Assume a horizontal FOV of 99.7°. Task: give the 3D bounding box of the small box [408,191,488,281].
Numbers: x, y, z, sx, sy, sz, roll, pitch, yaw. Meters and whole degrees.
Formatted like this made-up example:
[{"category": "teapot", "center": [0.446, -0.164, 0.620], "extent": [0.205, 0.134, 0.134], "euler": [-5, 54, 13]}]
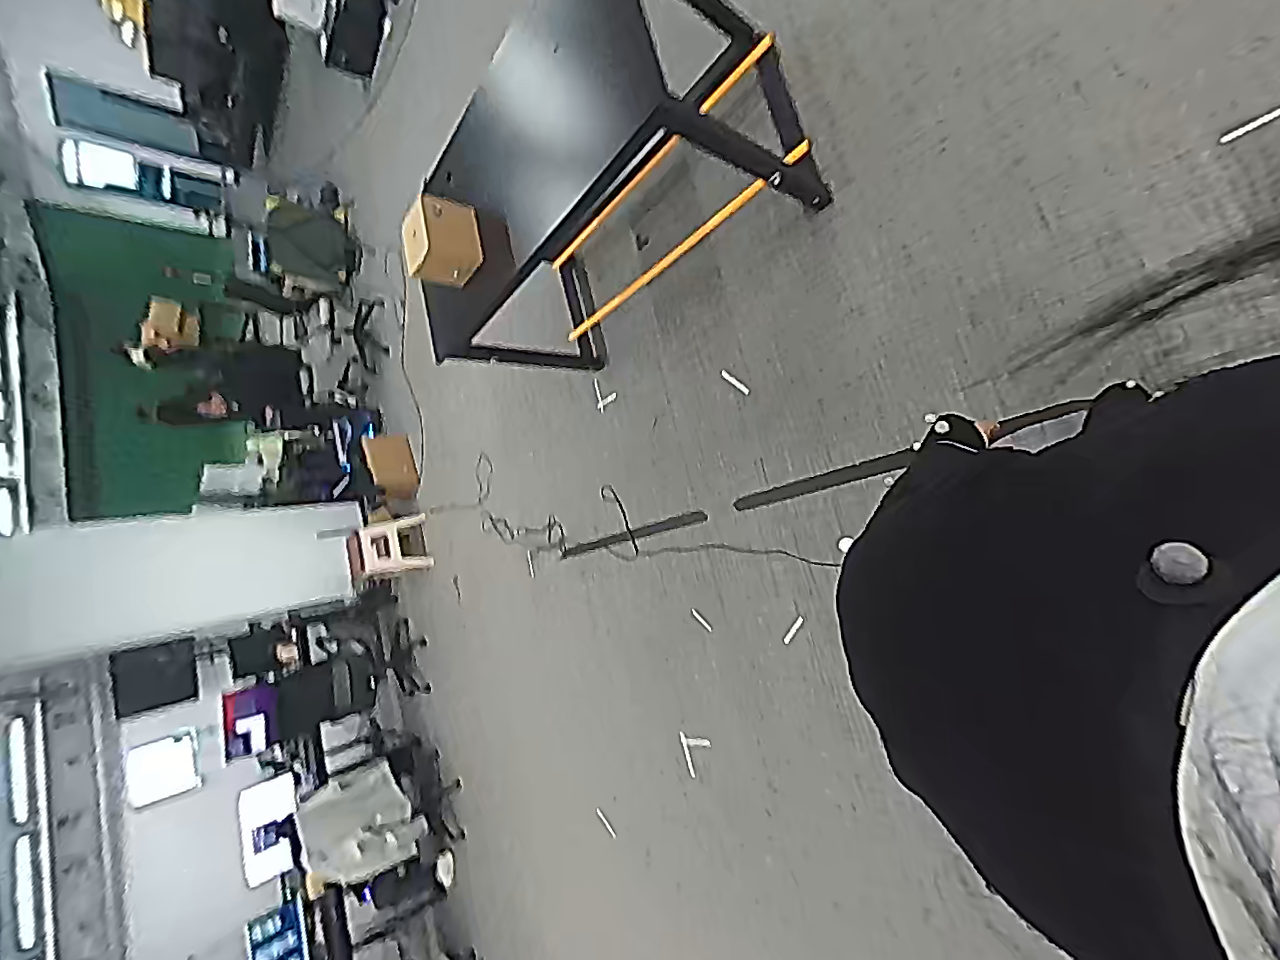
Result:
[{"category": "small box", "center": [-0.587, -0.737, 1.653], "extent": [0.168, 0.176, 0.179], "euler": [-21, 78, 47]}]
